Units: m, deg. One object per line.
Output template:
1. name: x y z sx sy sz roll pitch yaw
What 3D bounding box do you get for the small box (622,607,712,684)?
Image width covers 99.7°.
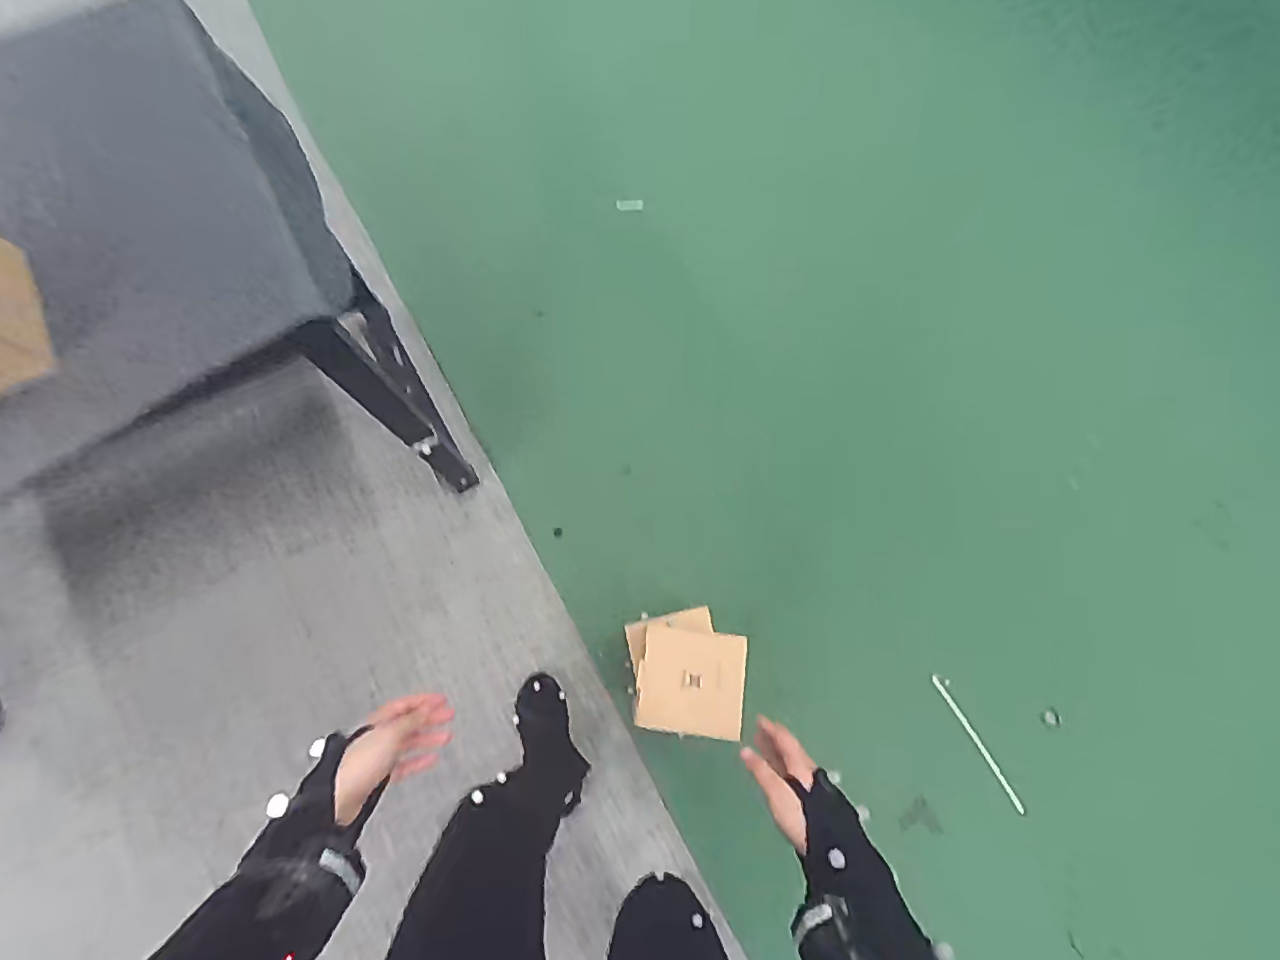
1. small box: 0.065 0.370 1.135 0.179 0.176 0.168 -13 75 -6

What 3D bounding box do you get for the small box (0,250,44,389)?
1. small box: -0.731 -0.172 0.505 0.168 0.176 0.179 -29 76 -9

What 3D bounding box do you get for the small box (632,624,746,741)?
1. small box: 0.080 0.355 0.971 0.179 0.176 0.168 8 75 -1
